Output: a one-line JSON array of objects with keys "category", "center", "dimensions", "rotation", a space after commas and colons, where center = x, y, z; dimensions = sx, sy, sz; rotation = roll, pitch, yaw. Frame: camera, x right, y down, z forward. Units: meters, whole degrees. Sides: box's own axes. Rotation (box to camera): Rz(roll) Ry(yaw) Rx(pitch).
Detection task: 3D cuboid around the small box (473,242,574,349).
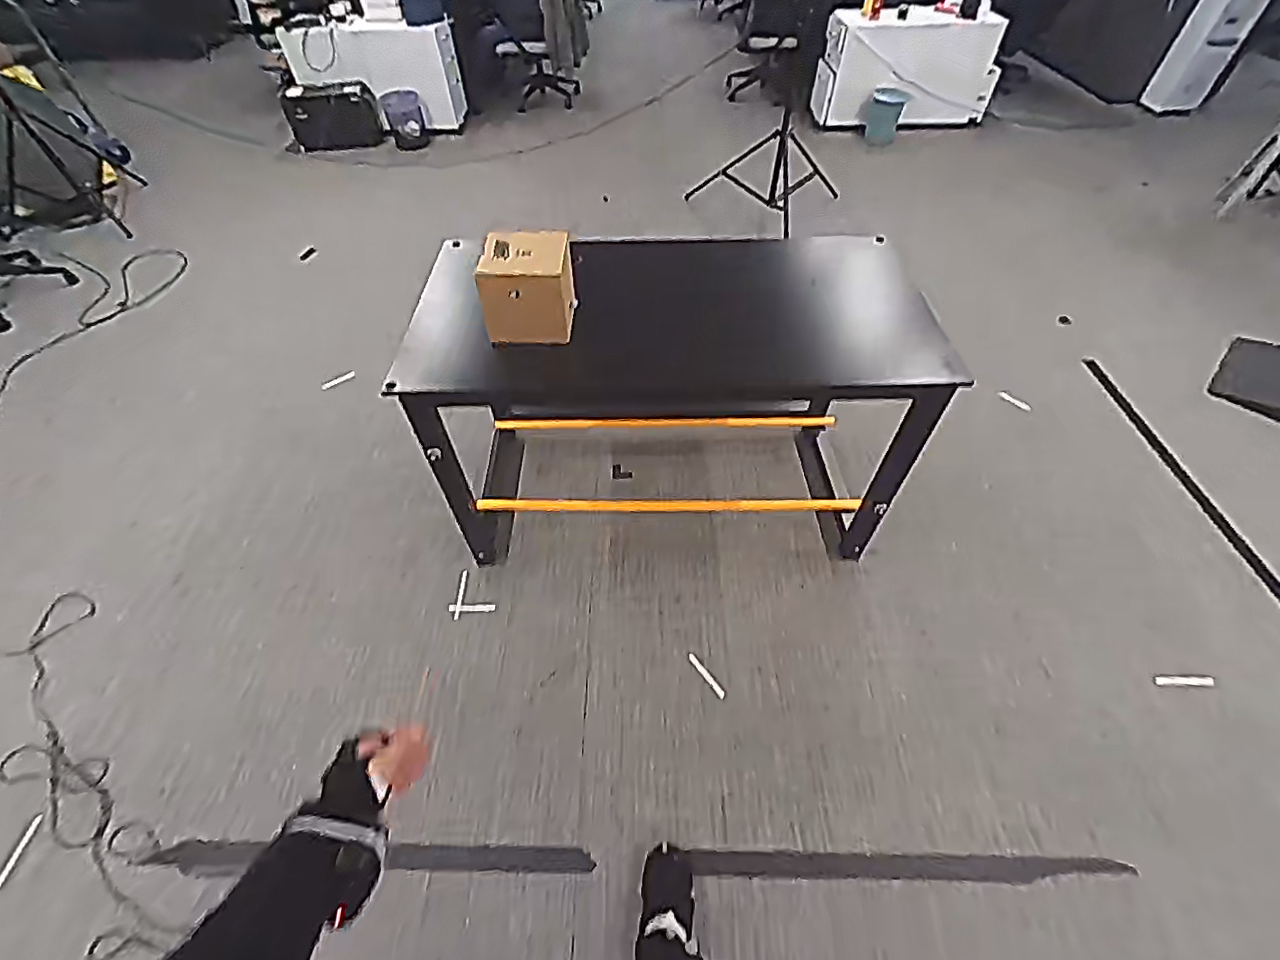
[{"category": "small box", "center": [-0.247, -0.404, 1.190], "dimensions": [0.179, 0.176, 0.168], "rotation": [1, 51, 0]}]
